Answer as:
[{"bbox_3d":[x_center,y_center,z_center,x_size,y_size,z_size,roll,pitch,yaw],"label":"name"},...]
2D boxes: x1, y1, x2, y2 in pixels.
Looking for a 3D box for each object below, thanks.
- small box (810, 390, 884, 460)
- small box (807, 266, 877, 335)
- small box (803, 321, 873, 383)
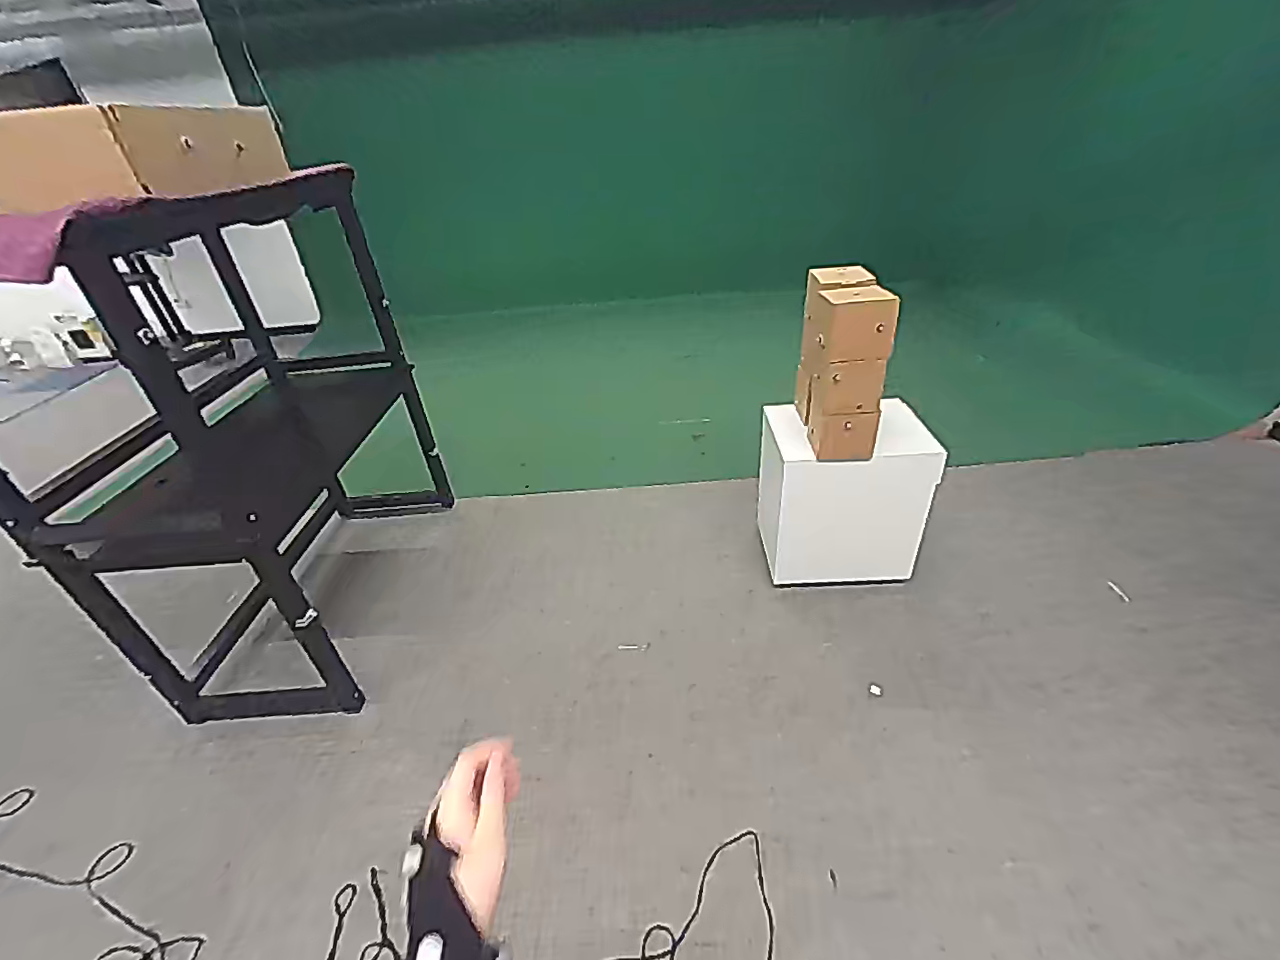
[{"bbox_3d":[0.657,-0.177,1.736,0.179,0.176,0.168,-2,33,5],"label":"small box"},{"bbox_3d":[0.641,-0.571,1.733,0.168,0.176,0.179,-2,36,5],"label":"small box"},{"bbox_3d":[0.662,-0.440,1.830,0.179,0.176,0.168,-2,35,4],"label":"small box"}]
